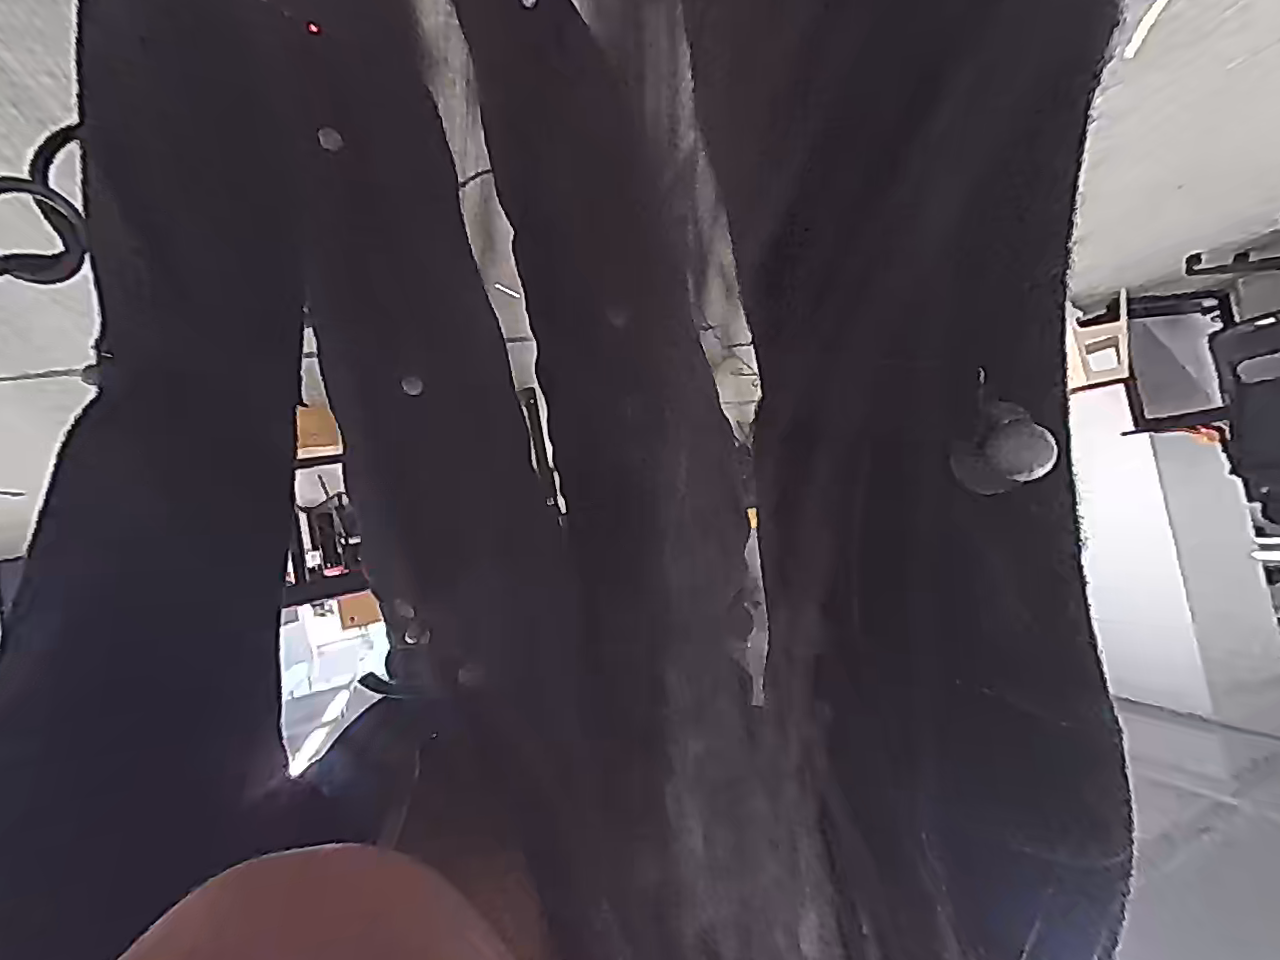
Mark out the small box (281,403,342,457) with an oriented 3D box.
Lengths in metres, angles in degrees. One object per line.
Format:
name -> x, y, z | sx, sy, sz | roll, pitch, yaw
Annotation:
small box -> -1.292, -0.198, 2.120 | 0.179, 0.176, 0.168 | -10, 177, -37

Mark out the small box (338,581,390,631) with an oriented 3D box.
small box -> -1.196, 0.538, 2.340 | 0.179, 0.176, 0.168 | -10, 178, -22
